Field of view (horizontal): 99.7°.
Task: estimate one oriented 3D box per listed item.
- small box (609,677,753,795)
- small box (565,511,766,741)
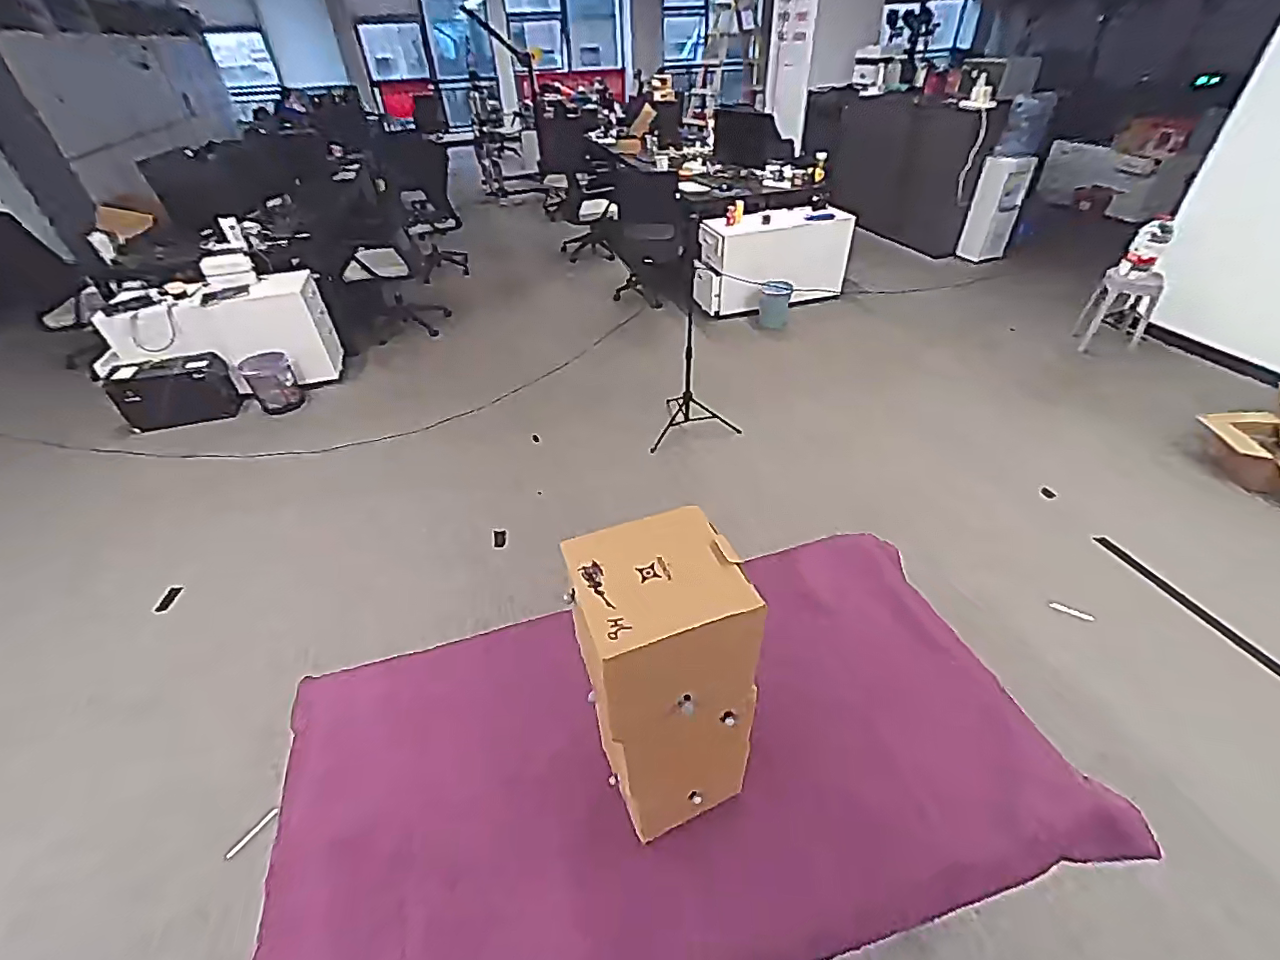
[{"bbox_3d":[0.034,0.290,0.734,0.179,0.176,0.168,-14,40,-14],"label":"small box"},{"bbox_3d":[0.021,0.166,0.627,0.179,0.176,0.168,-13,39,-14],"label":"small box"}]
